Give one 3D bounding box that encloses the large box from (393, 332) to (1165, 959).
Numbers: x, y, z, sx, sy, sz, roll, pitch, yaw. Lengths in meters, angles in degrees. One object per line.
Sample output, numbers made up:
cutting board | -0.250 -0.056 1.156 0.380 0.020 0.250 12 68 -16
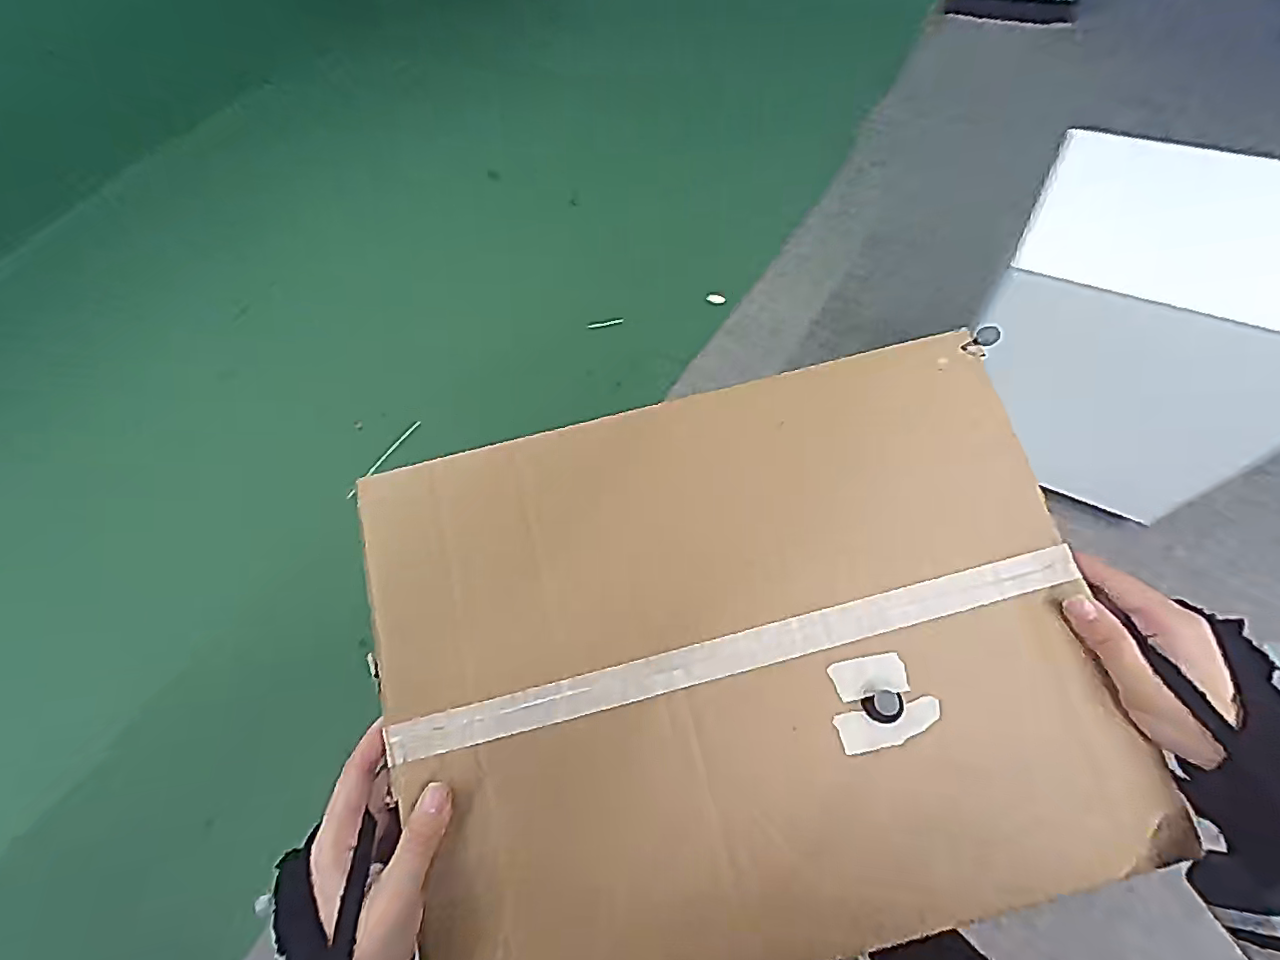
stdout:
large box | 0.067 0.124 0.470 0.408 0.320 0.320 -13 78 -3
